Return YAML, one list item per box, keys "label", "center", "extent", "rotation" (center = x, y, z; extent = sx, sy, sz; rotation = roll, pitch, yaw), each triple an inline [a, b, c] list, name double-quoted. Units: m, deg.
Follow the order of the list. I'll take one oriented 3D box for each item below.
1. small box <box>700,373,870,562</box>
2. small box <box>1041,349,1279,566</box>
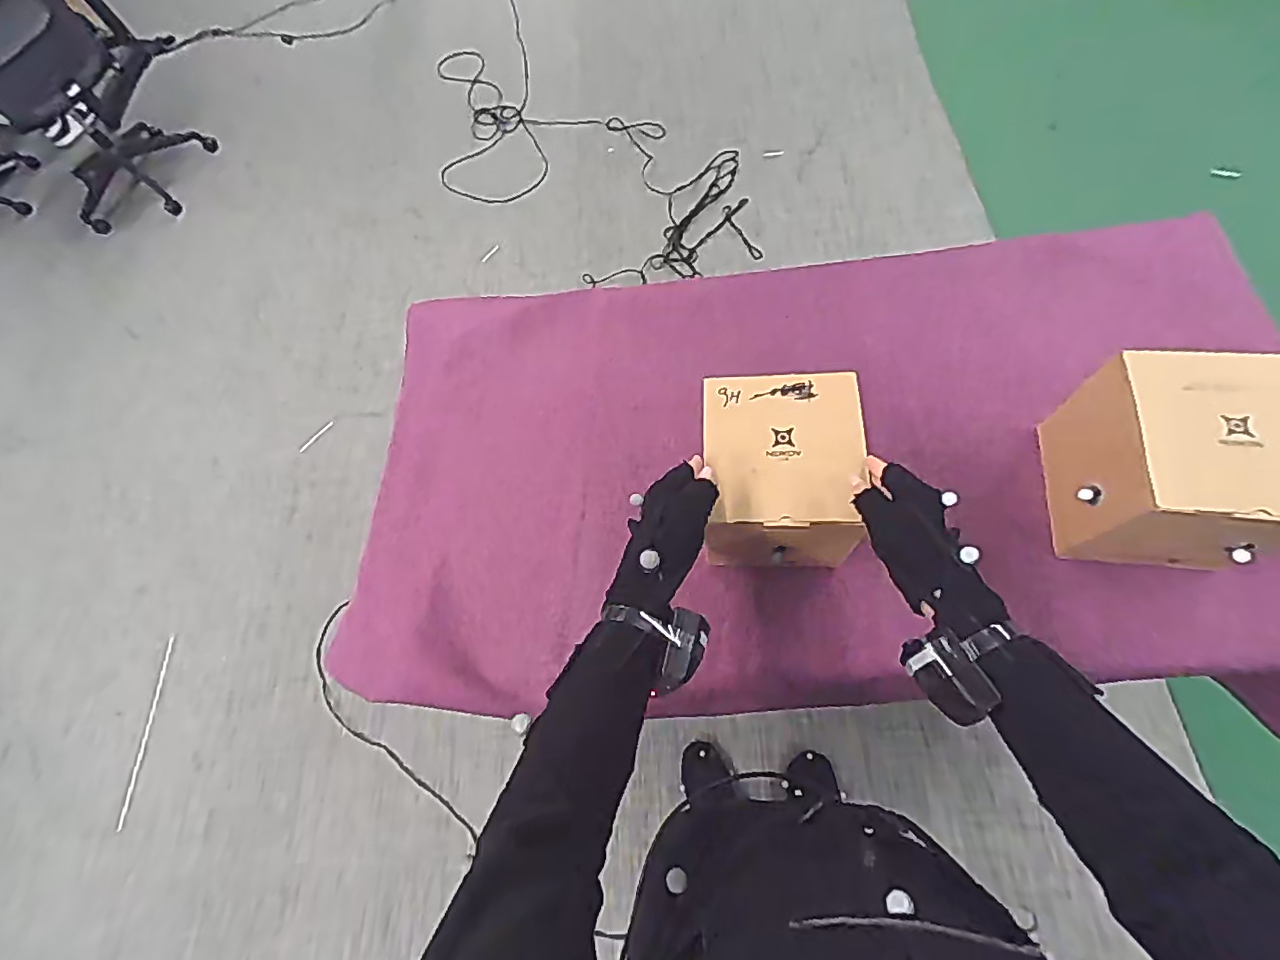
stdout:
- label: "small box"
  center: [0.160, -0.005, 0.635]
  extent: [0.168, 0.176, 0.179]
  rotation: [0, 67, 9]
- label: "small box"
  center: [0.564, -0.016, 0.573]
  extent: [0.168, 0.176, 0.179]
  rotation: [5, 68, 11]
